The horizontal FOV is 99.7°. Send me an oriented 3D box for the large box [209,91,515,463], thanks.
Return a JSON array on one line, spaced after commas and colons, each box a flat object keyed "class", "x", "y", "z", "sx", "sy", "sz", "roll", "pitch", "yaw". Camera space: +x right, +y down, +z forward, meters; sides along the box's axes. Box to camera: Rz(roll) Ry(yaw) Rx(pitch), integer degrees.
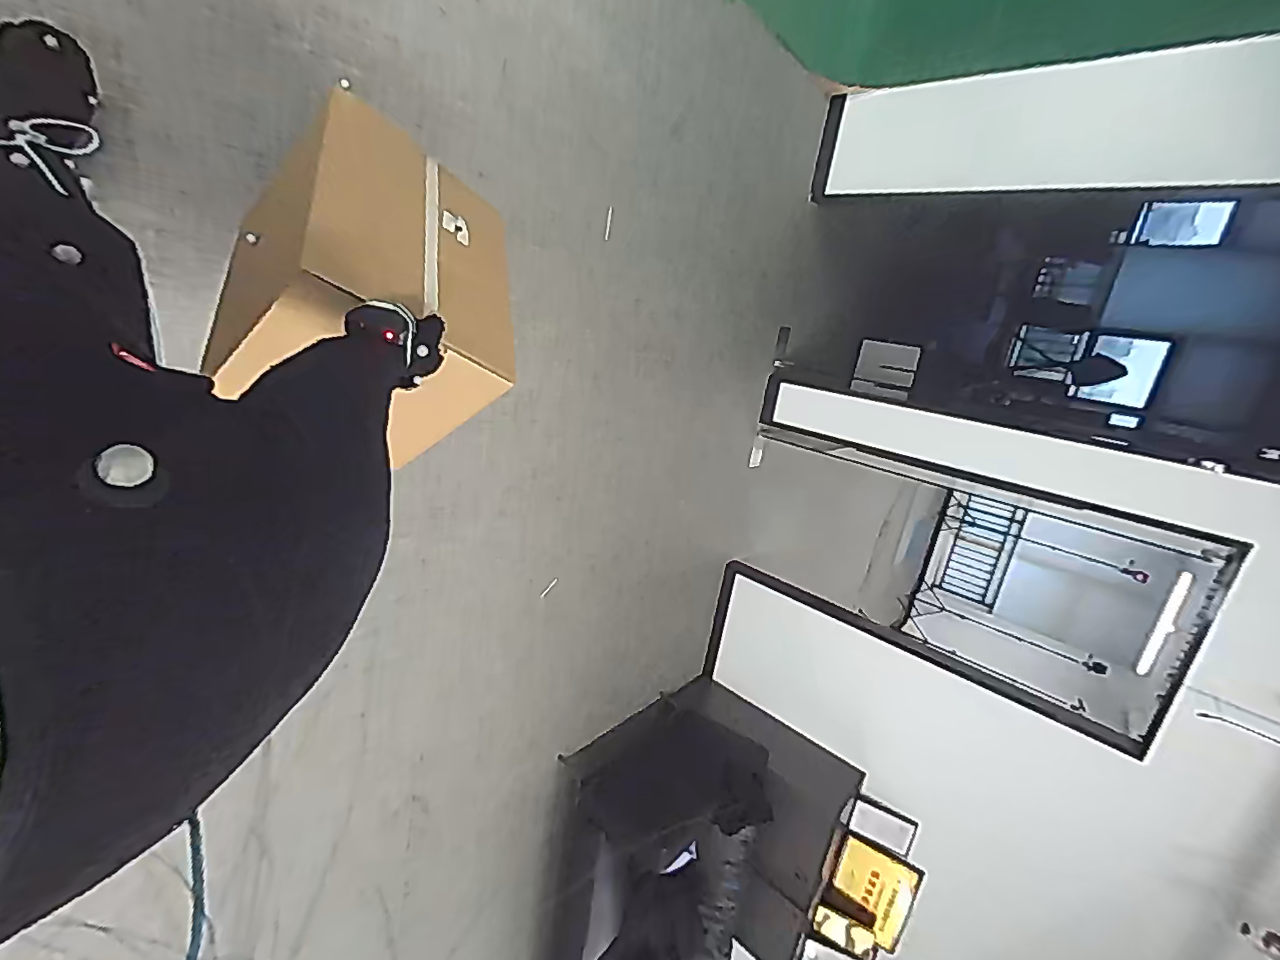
[{"class": "large box", "x": -0.438, "y": -0.296, "z": 0.884, "sx": 0.320, "sy": 0.320, "sz": 0.408, "roll": 26, "pitch": 44, "yaw": -49}]
